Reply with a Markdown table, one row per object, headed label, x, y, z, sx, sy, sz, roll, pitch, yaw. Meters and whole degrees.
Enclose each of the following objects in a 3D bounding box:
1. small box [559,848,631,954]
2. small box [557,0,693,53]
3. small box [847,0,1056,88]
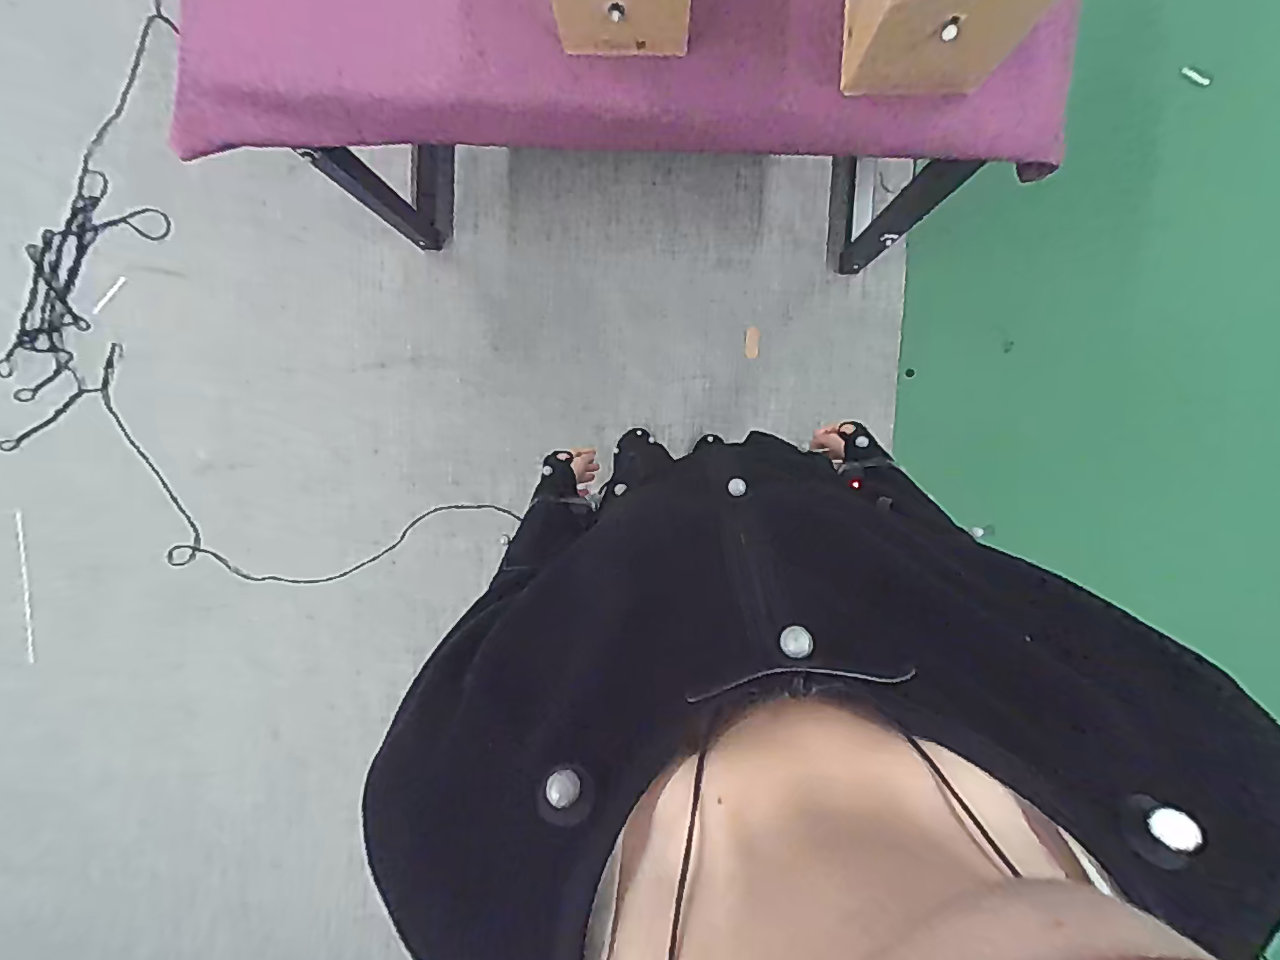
| label | x | y | z | sx | sy | sz | roll | pitch | yaw |
| --- | --- | --- | --- | --- | --- | --- | --- | --- | --- |
| small box | -0.117 | 1.150 | 1.487 | 0.179 | 0.176 | 0.168 | -3 | 93 | 5 |
| small box | -0.016 | -0.656 | 0.648 | 0.168 | 0.176 | 0.179 | 3 | 94 | 3 |
| small box | 0.360 | -0.593 | 0.629 | 0.179 | 0.176 | 0.168 | 2 | 96 | 5 |
